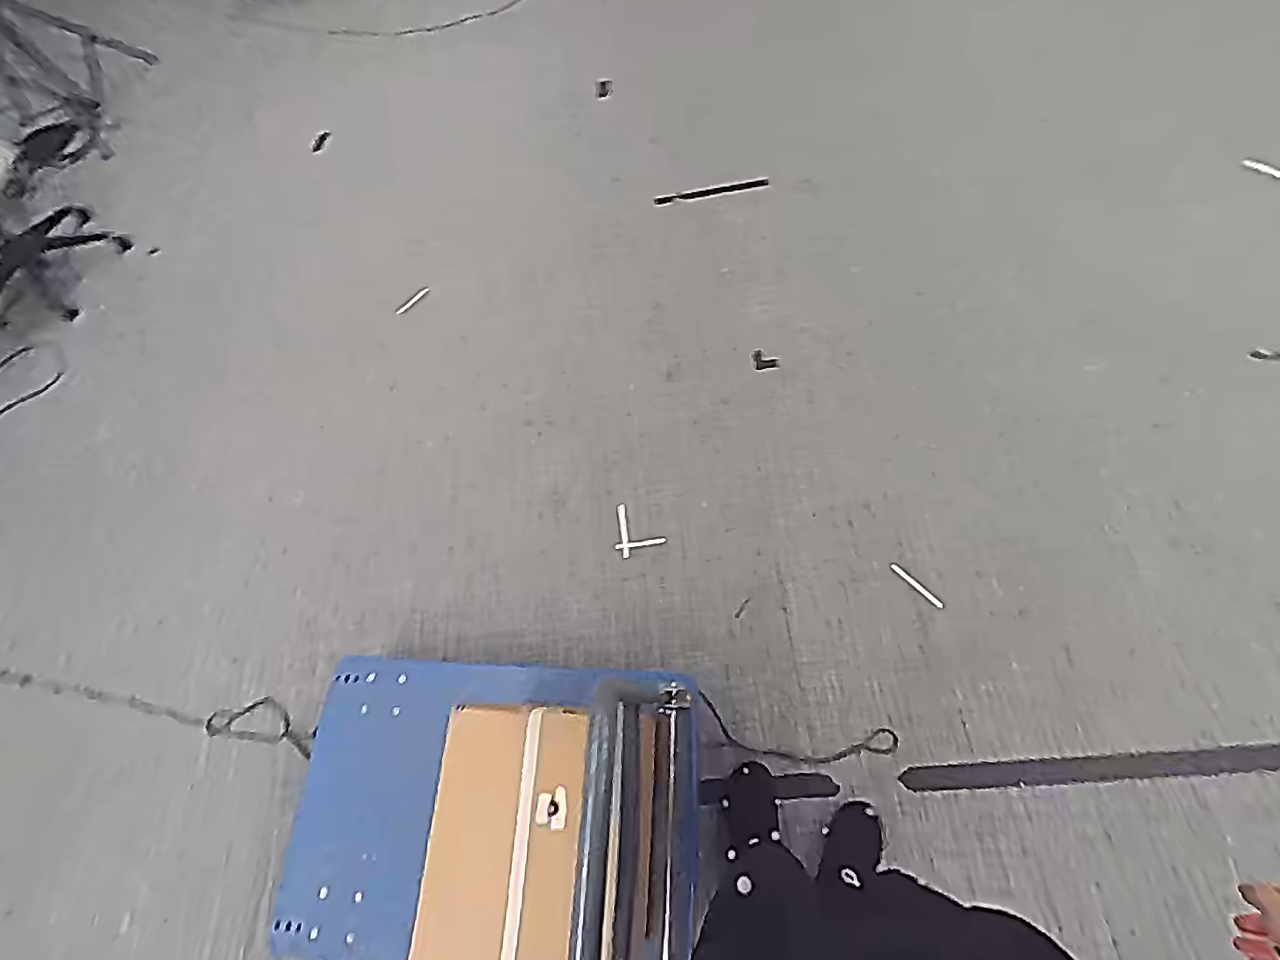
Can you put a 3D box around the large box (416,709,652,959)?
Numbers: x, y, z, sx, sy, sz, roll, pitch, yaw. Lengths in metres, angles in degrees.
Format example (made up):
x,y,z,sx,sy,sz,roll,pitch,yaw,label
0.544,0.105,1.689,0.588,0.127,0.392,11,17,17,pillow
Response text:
x,y,z,sx,sy,sz,roll,pitch,yaw,label
-0.155,0.638,0.973,0.320,0.320,0.408,-1,67,9,large box
